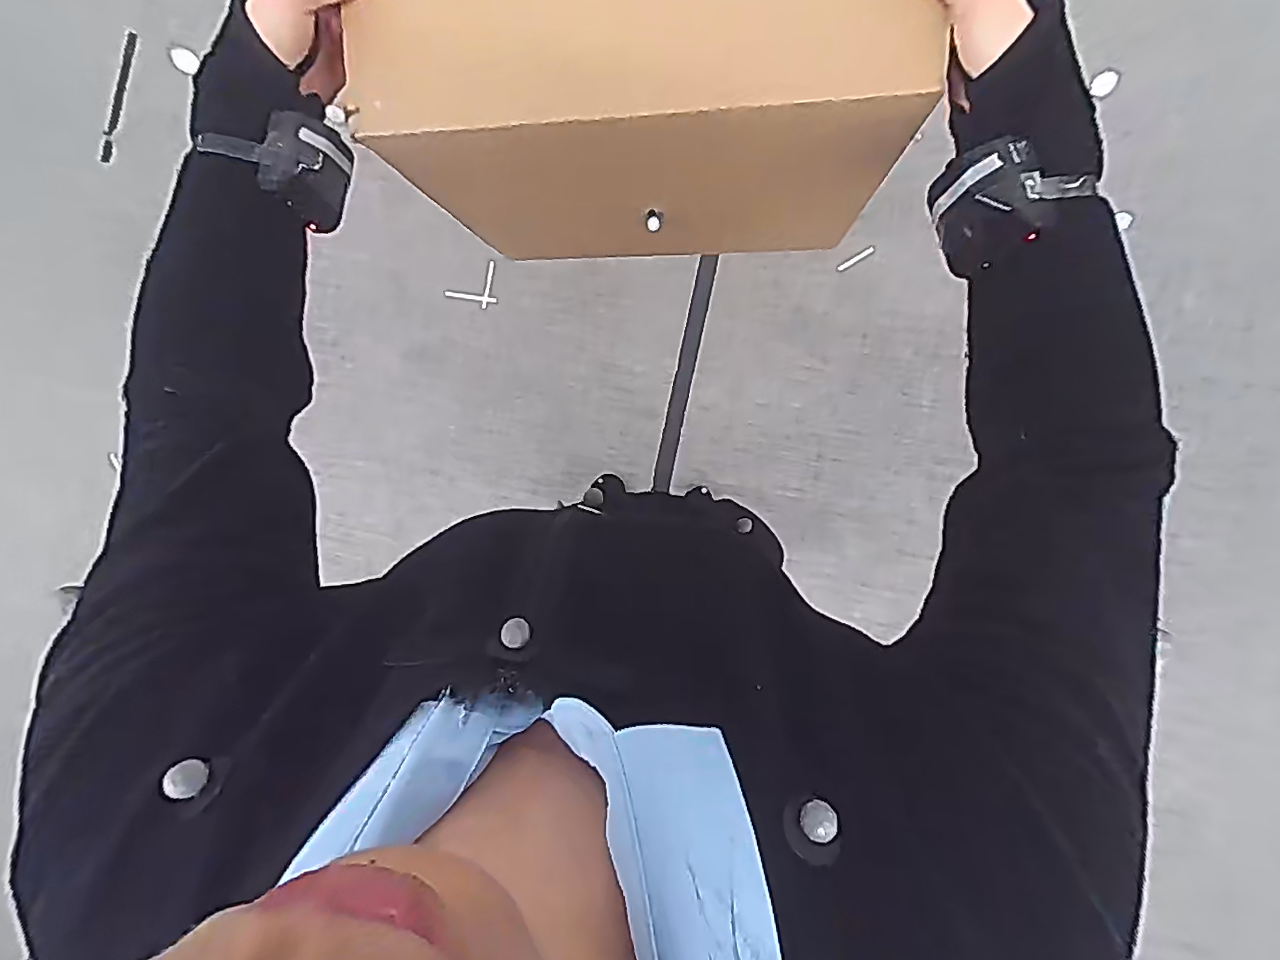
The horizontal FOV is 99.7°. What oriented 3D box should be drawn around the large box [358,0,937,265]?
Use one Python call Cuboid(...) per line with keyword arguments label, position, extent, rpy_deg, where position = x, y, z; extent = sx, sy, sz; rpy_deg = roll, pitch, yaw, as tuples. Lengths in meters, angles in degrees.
Cuboid(label="large box", position=(0.014, -0.412, 0.509), extent=(0.408, 0.320, 0.320), rpy_deg=(0, 94, 9))
